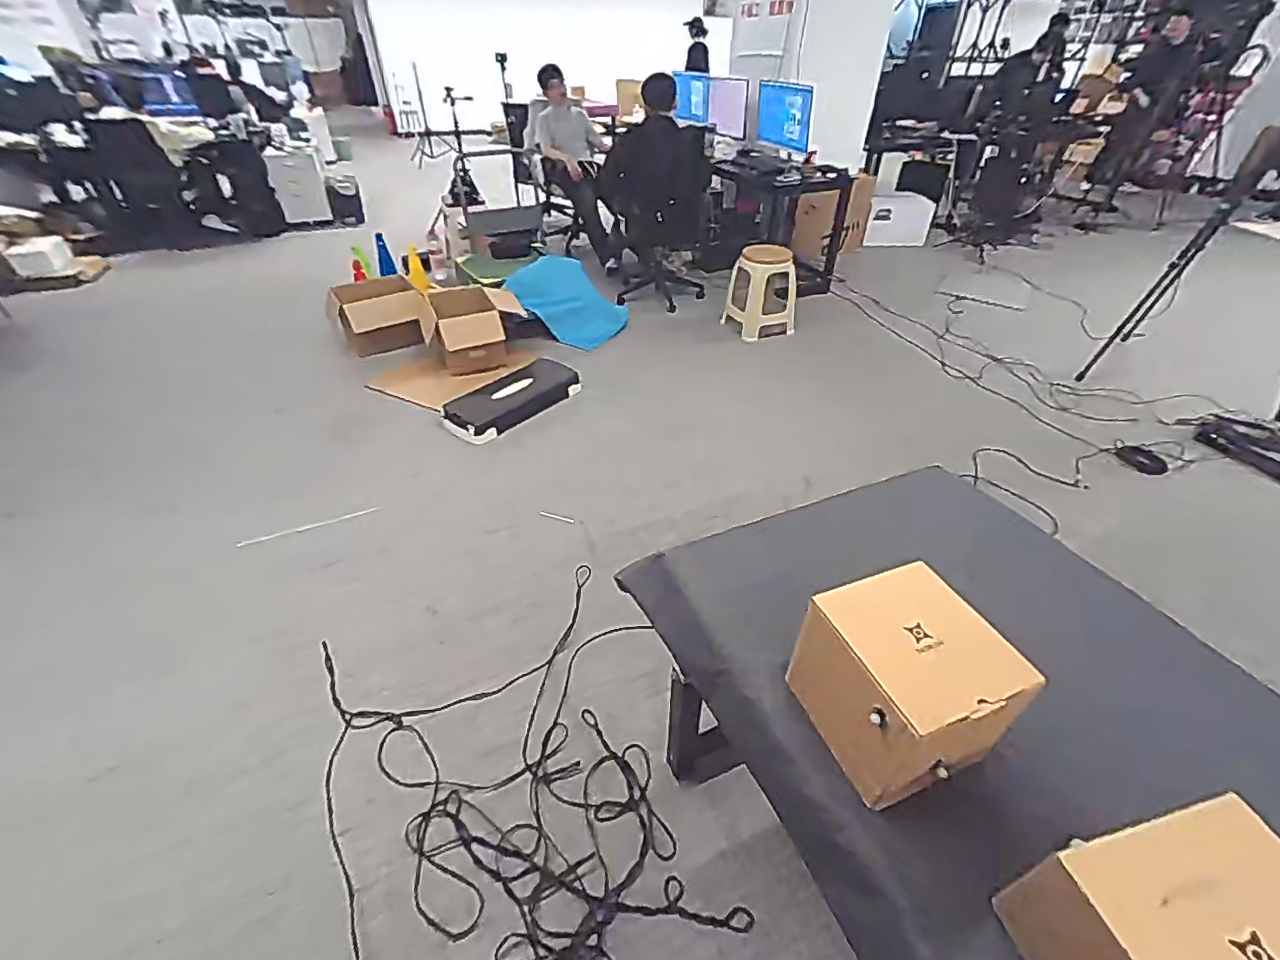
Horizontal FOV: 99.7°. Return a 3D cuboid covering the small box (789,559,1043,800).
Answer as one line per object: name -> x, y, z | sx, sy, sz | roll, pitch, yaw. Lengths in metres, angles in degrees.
small box -> 0.296, 0.226, 0.627 | 0.168, 0.176, 0.179 | -13, 41, -17

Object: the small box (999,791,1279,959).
small box -> 0.430, 0.381, 0.416 | 0.168, 0.176, 0.179 | -12, 40, -6
